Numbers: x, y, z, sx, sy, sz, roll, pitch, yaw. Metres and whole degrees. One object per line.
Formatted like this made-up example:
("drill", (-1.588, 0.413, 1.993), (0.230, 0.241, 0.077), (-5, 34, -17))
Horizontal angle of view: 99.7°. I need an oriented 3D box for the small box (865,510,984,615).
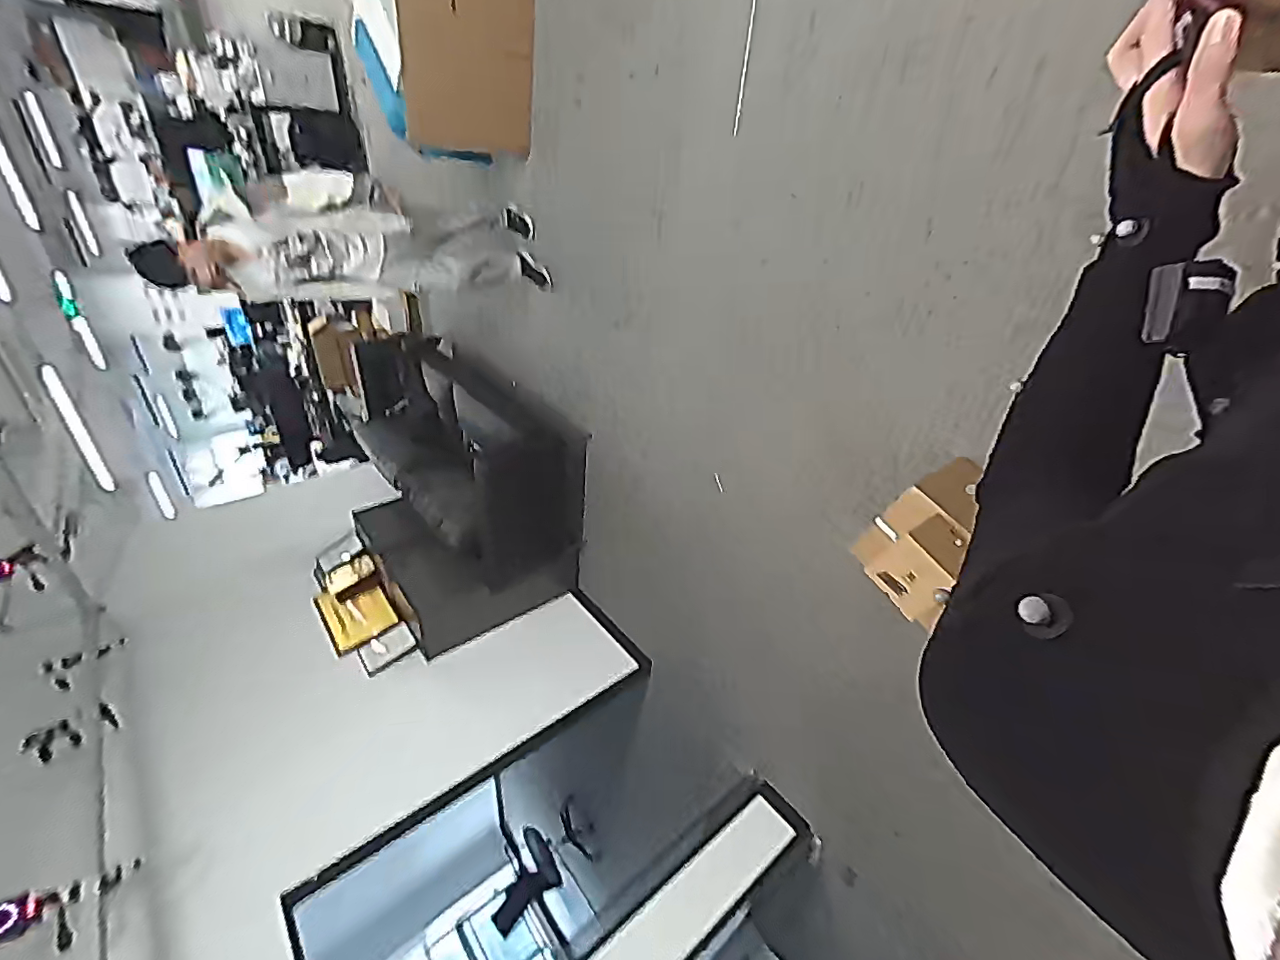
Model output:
("small box", (0.718, 0.204, 1.363), (0.168, 0.176, 0.179), (52, 140, 23))
